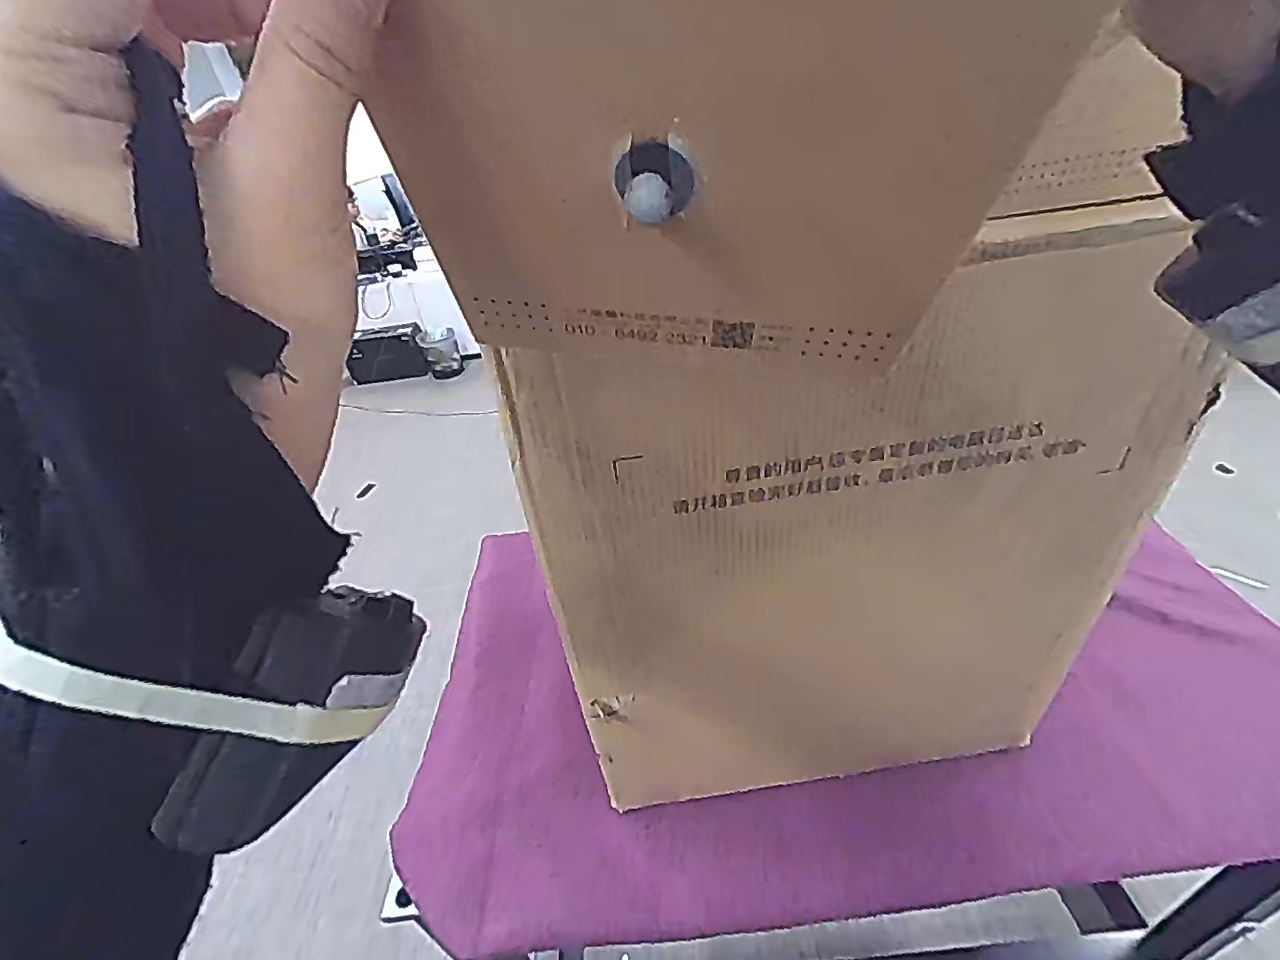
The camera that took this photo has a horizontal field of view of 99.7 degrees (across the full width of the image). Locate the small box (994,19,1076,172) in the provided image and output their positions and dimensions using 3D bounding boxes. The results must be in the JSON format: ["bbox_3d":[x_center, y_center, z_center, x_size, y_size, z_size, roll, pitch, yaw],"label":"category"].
[{"bbox_3d":[0.261,-0.376,0.496,0.179,0.176,0.168,-8,34,0],"label":"small box"}]

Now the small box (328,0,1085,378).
[{"bbox_3d":[0.024,-0.154,0.179,0.168,0.176,0.179,7,65,6],"label":"small box"}]
